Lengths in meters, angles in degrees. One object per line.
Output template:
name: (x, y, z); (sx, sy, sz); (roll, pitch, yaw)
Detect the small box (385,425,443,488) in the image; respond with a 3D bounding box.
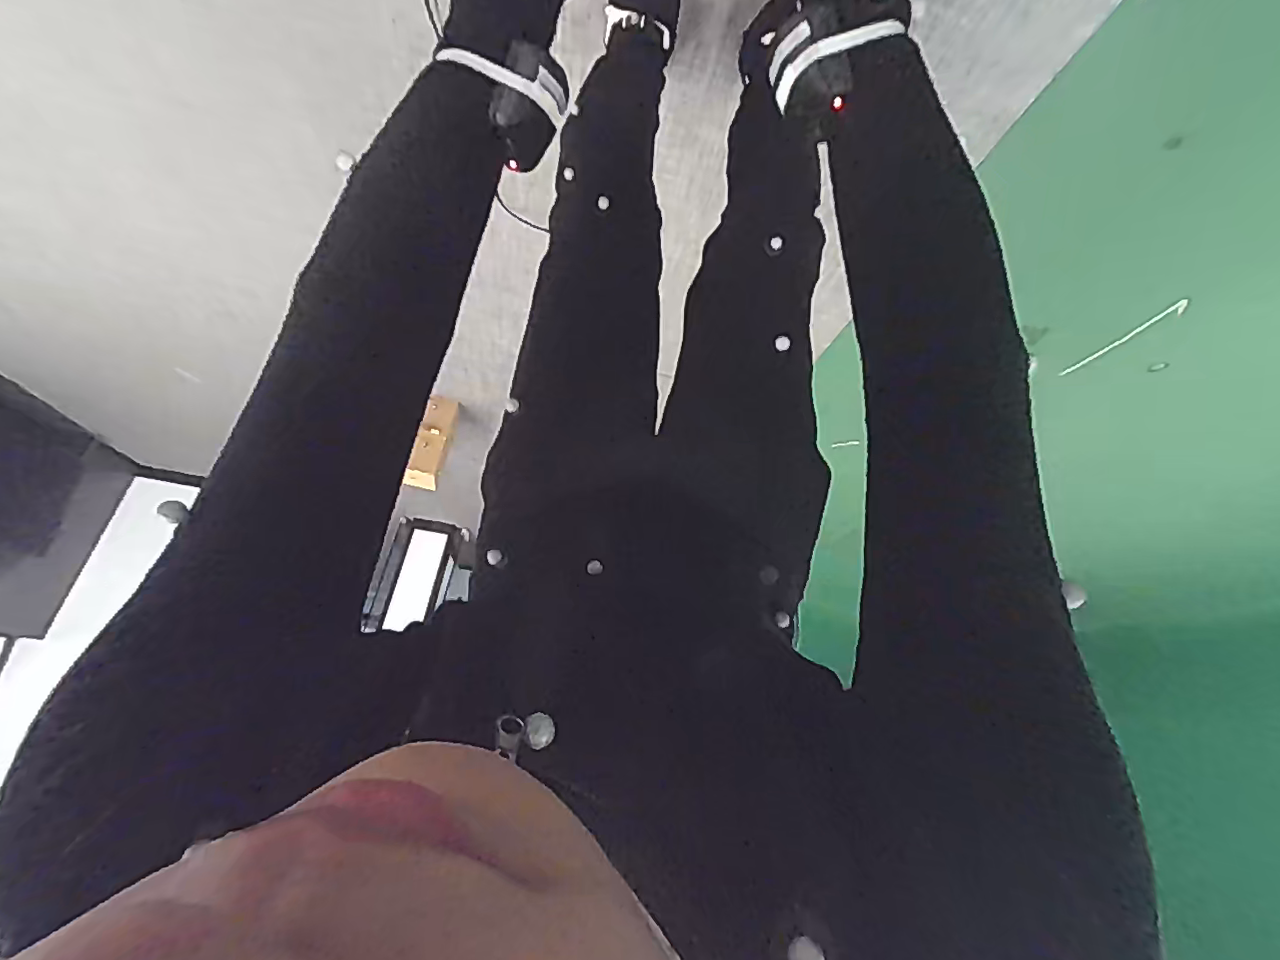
small box: (-0.872, -0.091, 2.105); (0.168, 0.176, 0.179); (15, 155, -13)

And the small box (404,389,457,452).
small box: (-0.842, -0.235, 2.169); (0.168, 0.176, 0.179); (15, 154, -19)
